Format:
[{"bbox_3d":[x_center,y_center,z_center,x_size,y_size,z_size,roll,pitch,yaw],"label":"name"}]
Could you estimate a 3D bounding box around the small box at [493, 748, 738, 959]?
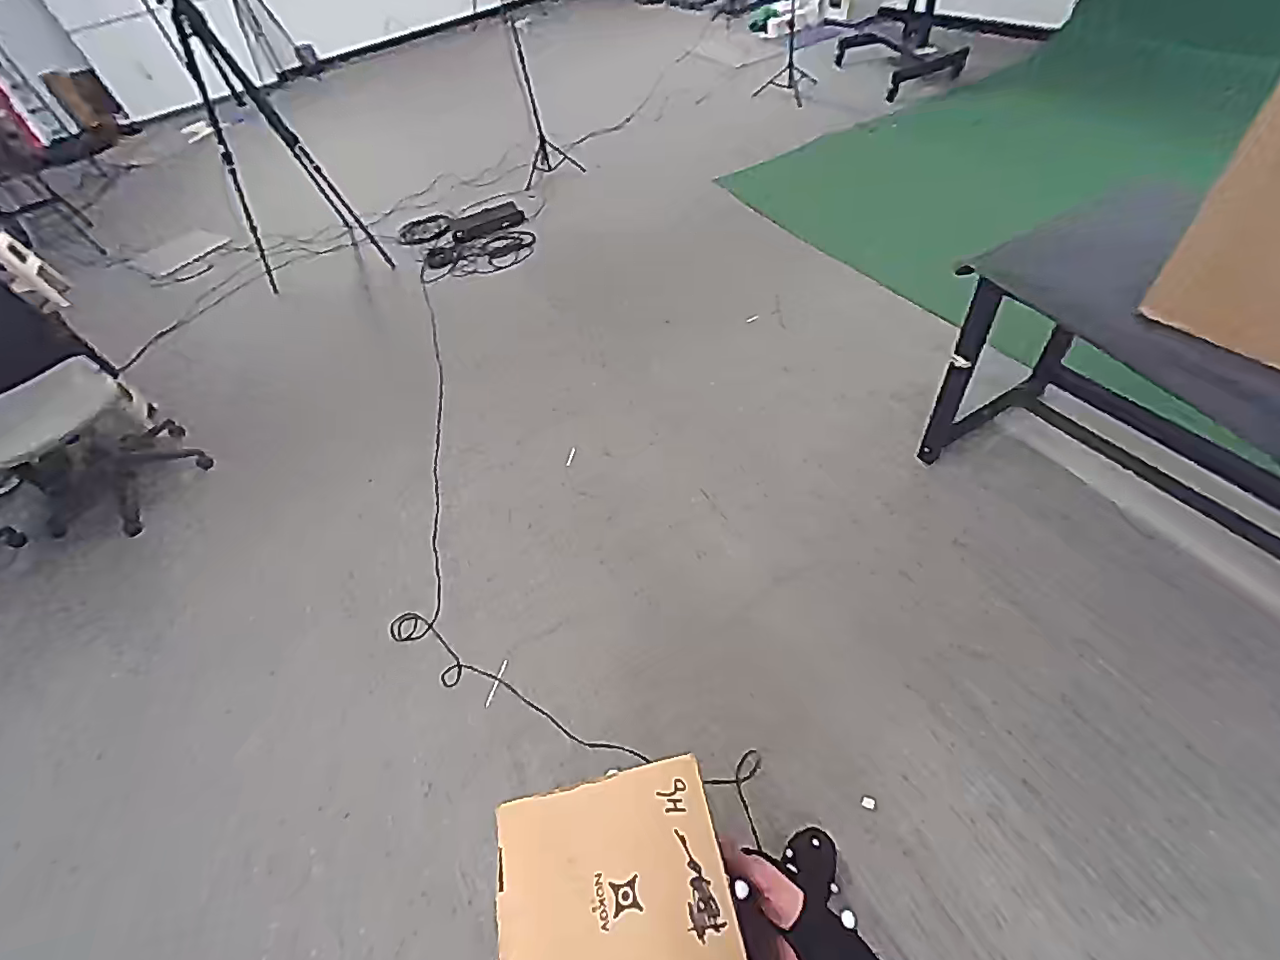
[{"bbox_3d":[-0.015,0.356,0.482,0.179,0.176,0.168,-14,57,-1],"label":"small box"}]
